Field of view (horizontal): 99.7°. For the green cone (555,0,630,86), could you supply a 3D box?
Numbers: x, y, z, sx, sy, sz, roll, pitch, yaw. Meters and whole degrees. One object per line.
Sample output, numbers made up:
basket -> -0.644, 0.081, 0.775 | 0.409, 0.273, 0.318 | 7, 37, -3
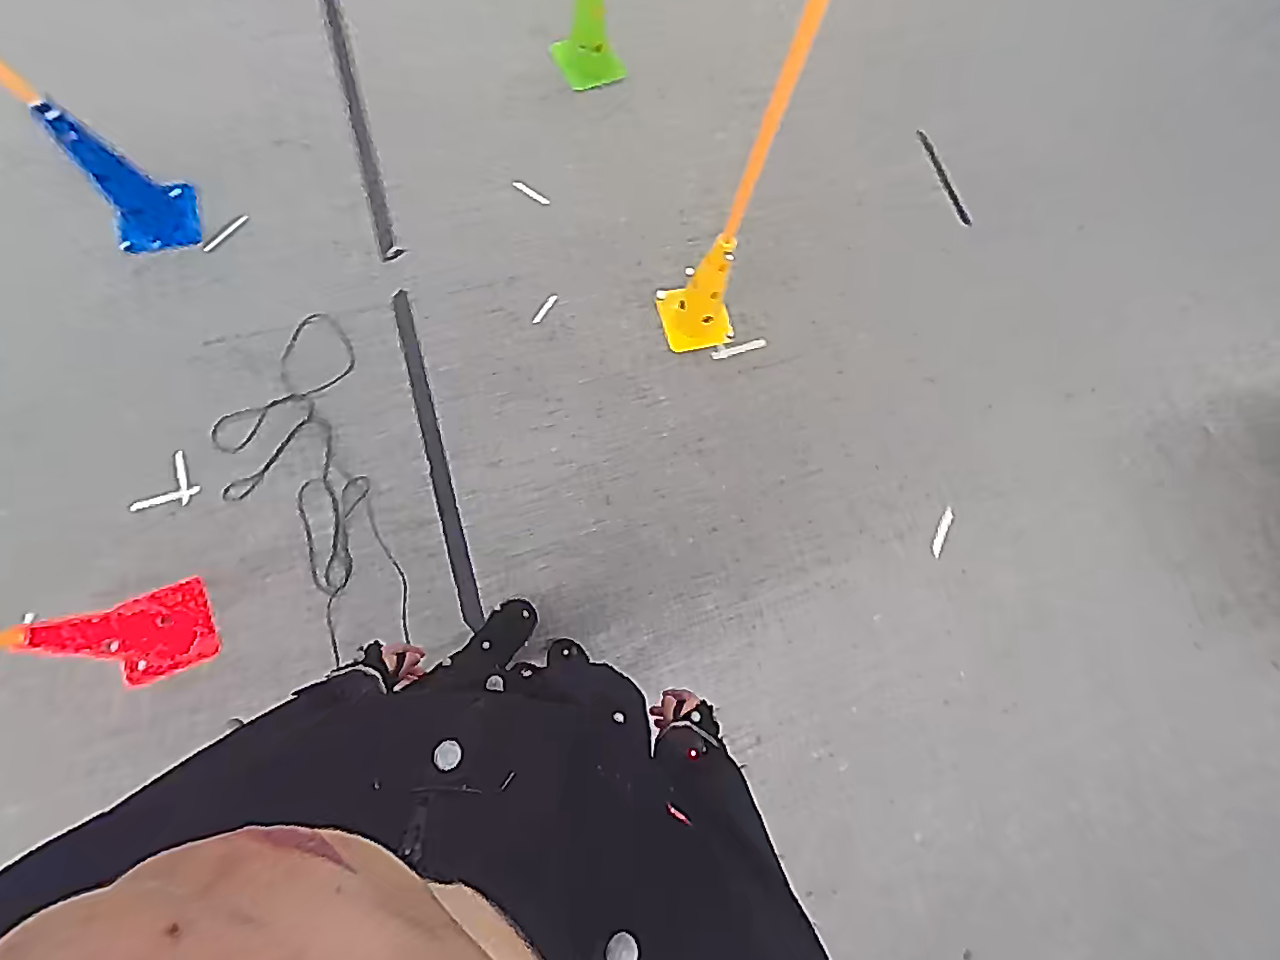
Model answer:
green cone -> -0.134, -1.432, 1.614 | 0.200, 0.368, 0.202 | -26, 83, -12

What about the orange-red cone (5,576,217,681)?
orange-red cone -> -1.078, 0.300, 1.086 | 0.199, 0.360, 0.198 | -20, 80, -12

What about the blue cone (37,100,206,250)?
blue cone -> -1.290, -0.763, 1.331 | 0.193, 0.380, 0.192 | -13, 79, -9
